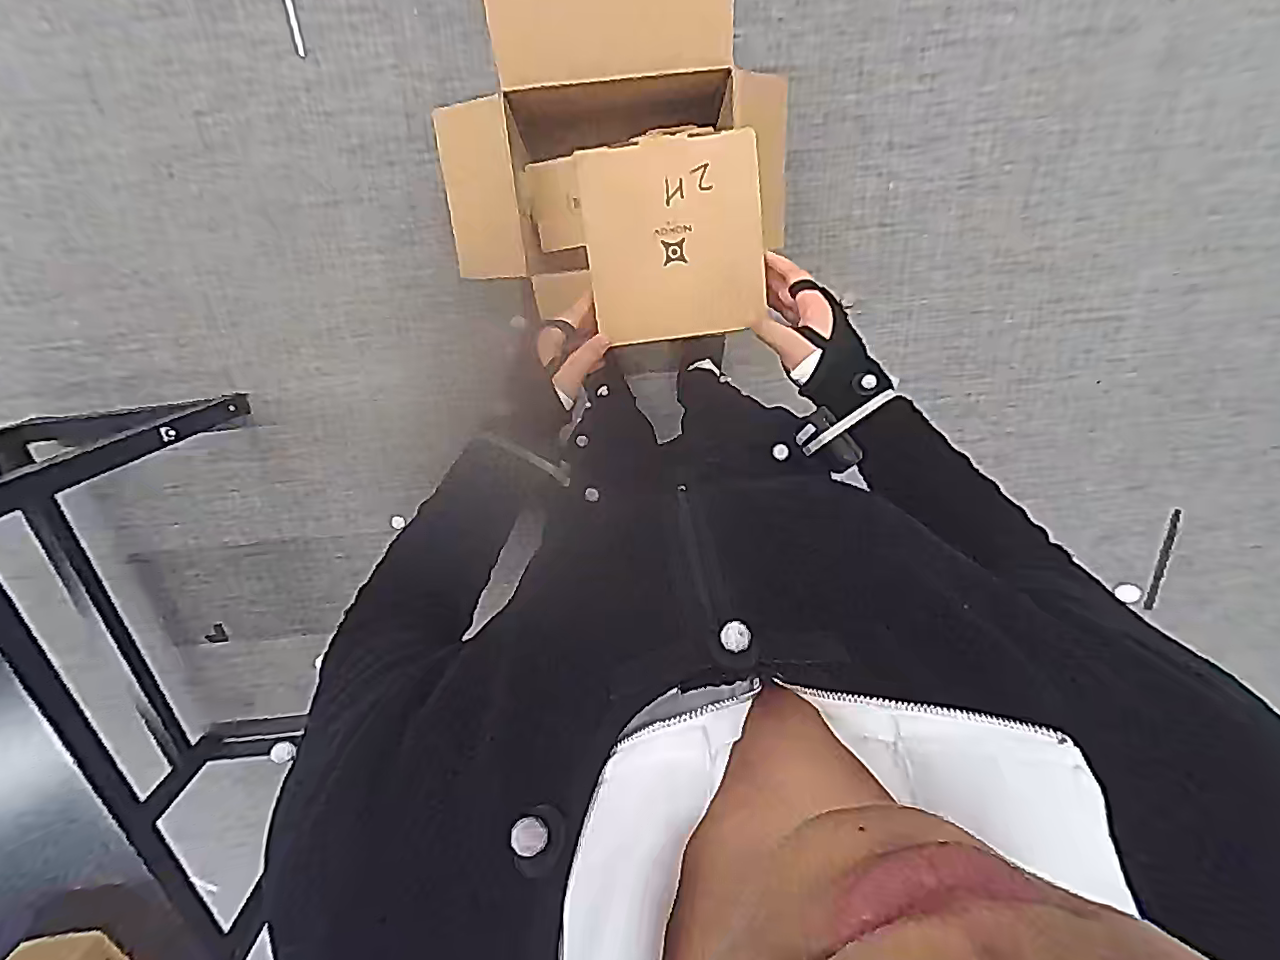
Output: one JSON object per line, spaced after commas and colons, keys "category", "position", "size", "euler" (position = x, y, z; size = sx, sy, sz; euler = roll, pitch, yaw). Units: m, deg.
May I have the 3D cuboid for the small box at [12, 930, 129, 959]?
{"category": "small box", "position": [-1.149, 1.017, 1.051], "size": [0.179, 0.176, 0.168], "euler": [-10, 111, 4]}

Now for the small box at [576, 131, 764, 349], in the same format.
{"category": "small box", "position": [0.032, -0.242, 0.585], "size": [0.168, 0.176, 0.179], "euler": [-7, 104, 1]}
